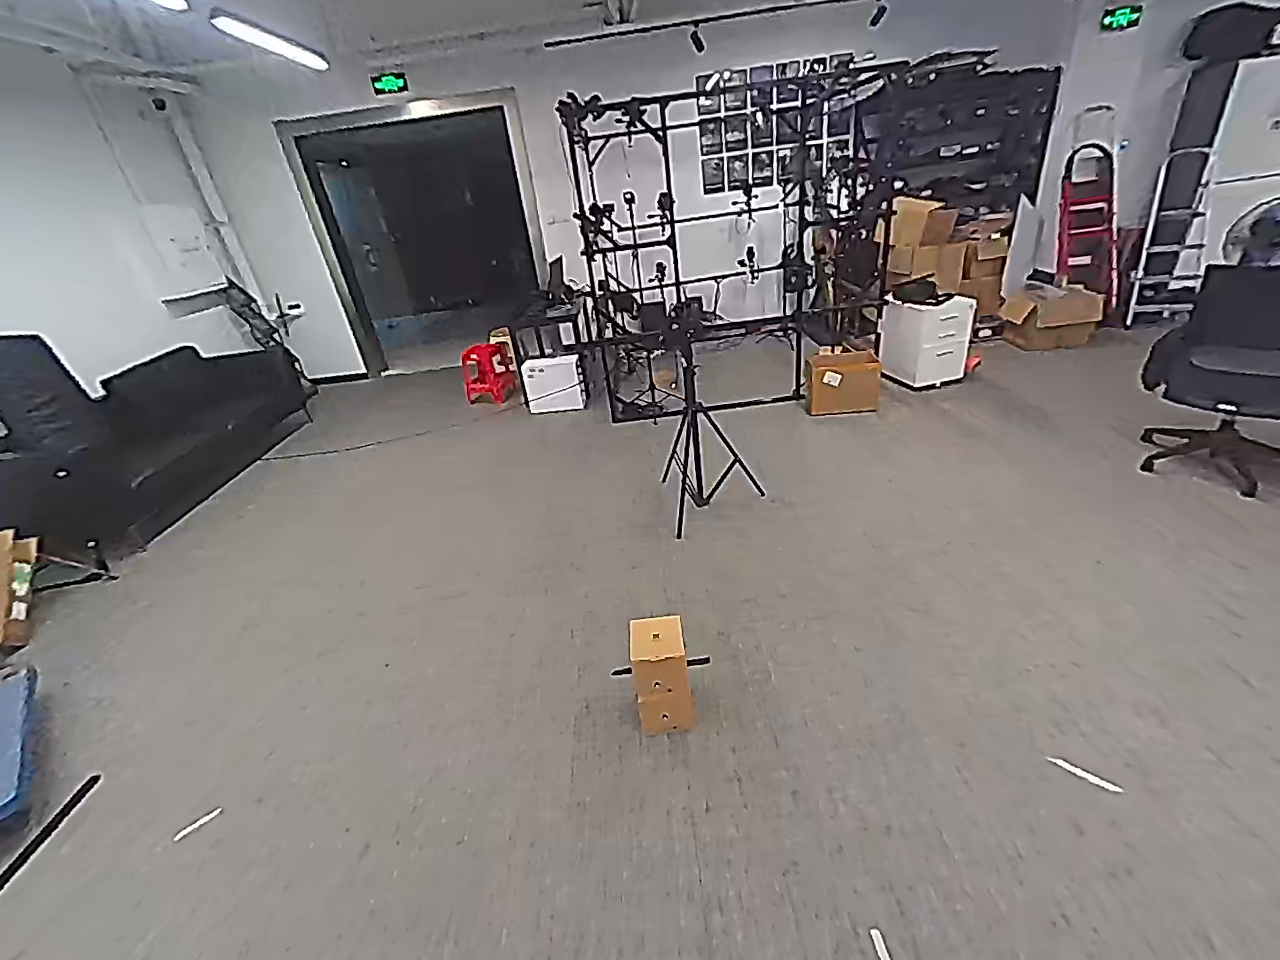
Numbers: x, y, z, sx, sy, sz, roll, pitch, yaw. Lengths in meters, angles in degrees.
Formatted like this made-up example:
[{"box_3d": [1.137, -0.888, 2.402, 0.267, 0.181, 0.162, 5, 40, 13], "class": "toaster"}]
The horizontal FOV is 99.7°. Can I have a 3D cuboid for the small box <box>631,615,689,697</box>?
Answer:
[{"box_3d": [0.062, 0.556, 1.715, 0.168, 0.176, 0.179, -8, 29, 2], "class": "small box"}]

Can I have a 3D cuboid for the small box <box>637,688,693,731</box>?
[{"box_3d": [0.080, 0.704, 1.784, 0.168, 0.176, 0.179, -8, 28, 0], "class": "small box"}]
